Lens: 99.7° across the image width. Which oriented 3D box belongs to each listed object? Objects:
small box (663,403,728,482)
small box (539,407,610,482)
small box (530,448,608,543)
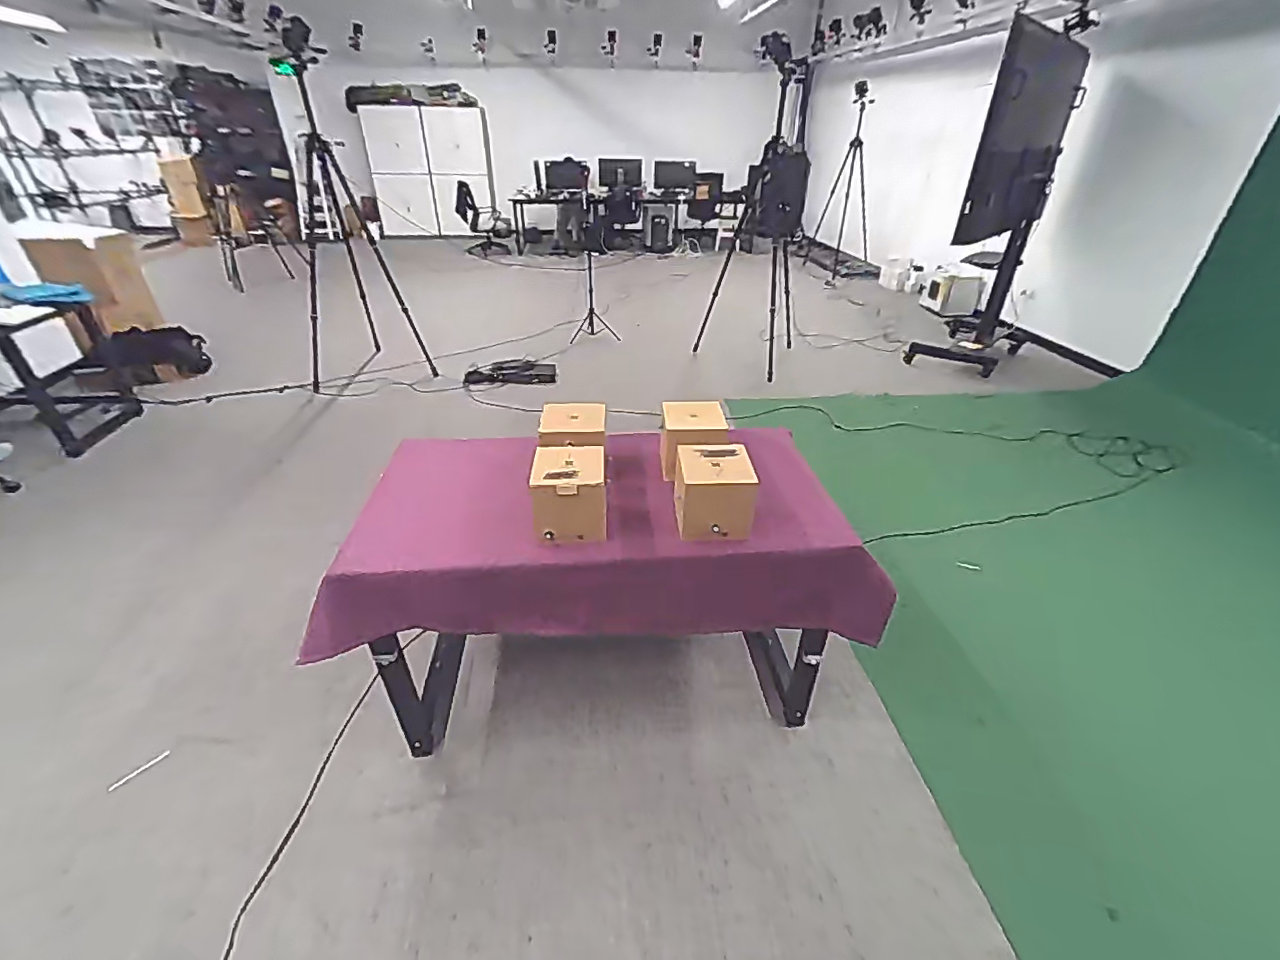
[{"bbox_3d":[0.151,-0.104,1.521,0.168,0.176,0.179,-1,32,-1],"label":"small box"},{"bbox_3d":[-0.177,-0.092,1.503,0.179,0.176,0.168,0,33,-2],"label":"small box"},{"bbox_3d":[-0.161,0.040,1.292,0.168,0.176,0.179,-2,31,-3],"label":"small box"}]
